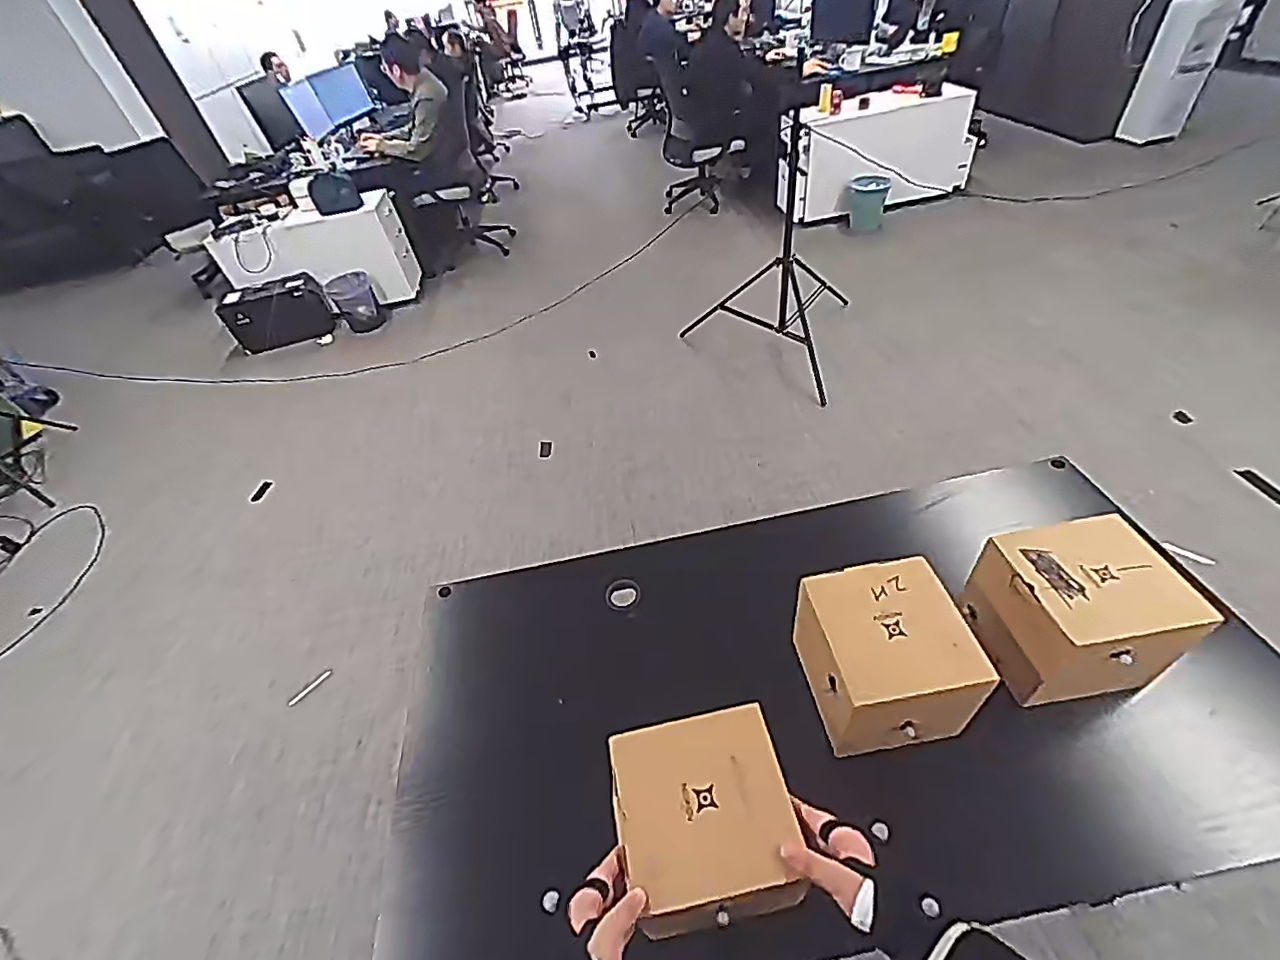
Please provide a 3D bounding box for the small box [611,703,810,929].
[{"bbox_3d":[0.075,0.386,0.619,0.179,0.176,0.168,-12,45,-3],"label":"small box"}]

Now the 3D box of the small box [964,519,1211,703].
[{"bbox_3d":[0.570,0.179,0.728,0.179,0.176,0.168,-10,44,0],"label":"small box"}]

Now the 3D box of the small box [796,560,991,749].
[{"bbox_3d":[0.316,0.237,0.719,0.168,0.176,0.179,-10,44,0],"label":"small box"}]
